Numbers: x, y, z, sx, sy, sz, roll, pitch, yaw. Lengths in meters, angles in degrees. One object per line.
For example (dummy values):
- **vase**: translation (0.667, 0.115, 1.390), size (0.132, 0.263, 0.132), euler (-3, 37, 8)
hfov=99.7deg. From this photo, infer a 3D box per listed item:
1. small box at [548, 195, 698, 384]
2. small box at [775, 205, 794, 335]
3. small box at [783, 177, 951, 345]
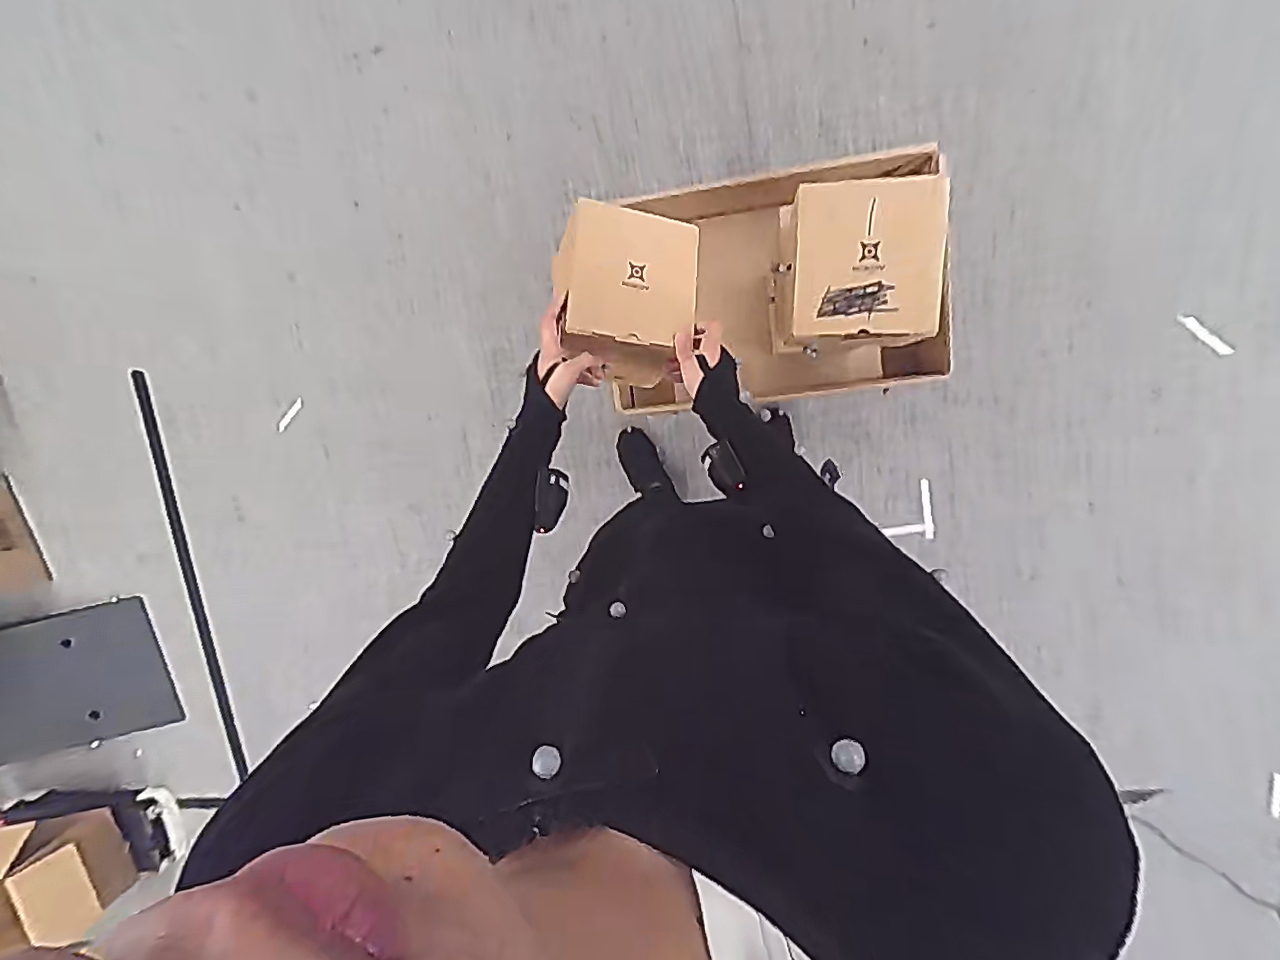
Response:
- **small box**: translation (-0.031, -0.248, 0.749), size (0.168, 0.176, 0.179), euler (5, 83, -18)
- **small box**: translation (0.305, -0.329, 0.861), size (0.168, 0.176, 0.179), euler (-3, 100, 12)
- **small box**: translation (0.280, -0.269, 0.706), size (0.168, 0.176, 0.179), euler (2, 100, 10)
